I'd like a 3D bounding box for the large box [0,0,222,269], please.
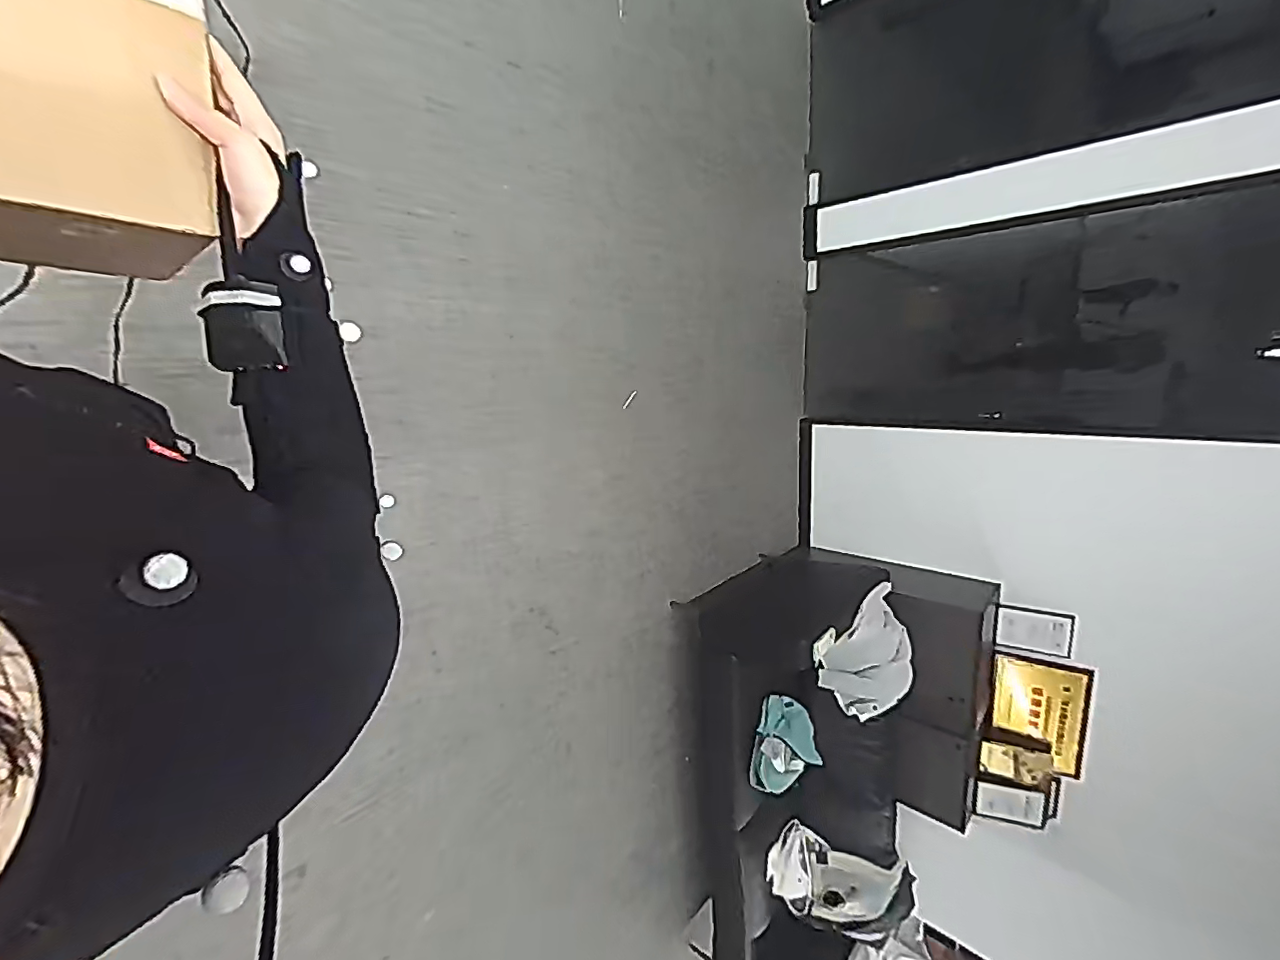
[{"bbox_3d":[-0.568,-0.345,0.349,0.408,0.320,0.320,-9,106,-47],"label":"large box"}]
